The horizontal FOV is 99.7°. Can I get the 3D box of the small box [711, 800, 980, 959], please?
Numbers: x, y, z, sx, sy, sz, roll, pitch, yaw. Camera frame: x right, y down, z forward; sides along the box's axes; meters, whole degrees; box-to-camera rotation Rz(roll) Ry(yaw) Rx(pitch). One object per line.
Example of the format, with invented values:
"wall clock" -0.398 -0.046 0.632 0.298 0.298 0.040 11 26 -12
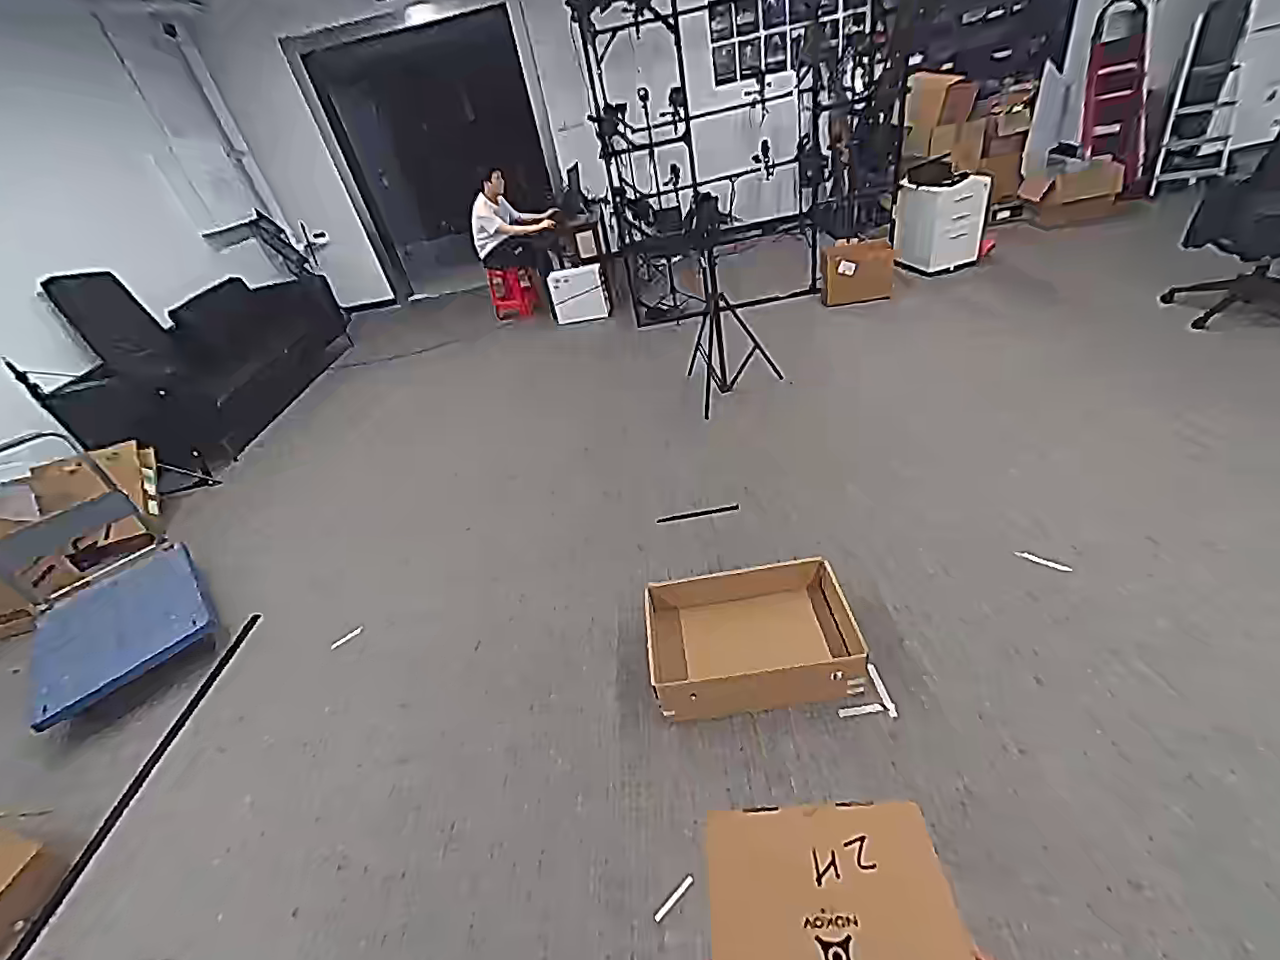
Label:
"small box" 0.145 0.369 0.394 0.168 0.176 0.179 -6 30 7
